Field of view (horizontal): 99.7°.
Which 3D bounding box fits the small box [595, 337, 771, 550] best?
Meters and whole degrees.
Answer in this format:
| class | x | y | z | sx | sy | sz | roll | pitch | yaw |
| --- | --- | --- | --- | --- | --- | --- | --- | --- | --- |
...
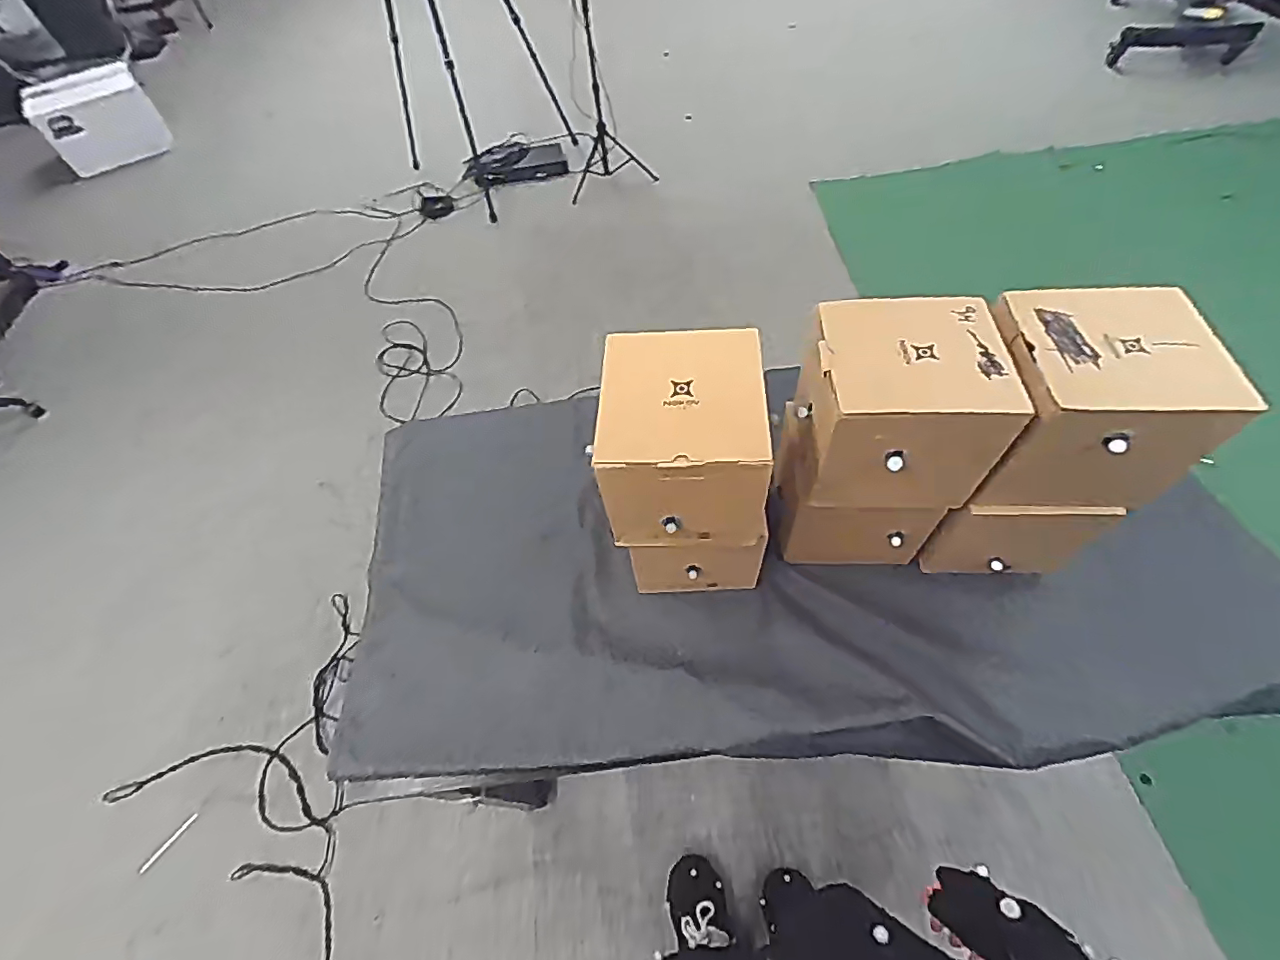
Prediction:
| class | x | y | z | sx | sy | sz | roll | pitch | yaw |
| --- | --- | --- | --- | --- | --- | --- | --- | --- | --- |
| small box | 0.049 | -0.036 | 0.609 | 0.168 | 0.176 | 0.179 | -2 | 58 | 6 |
